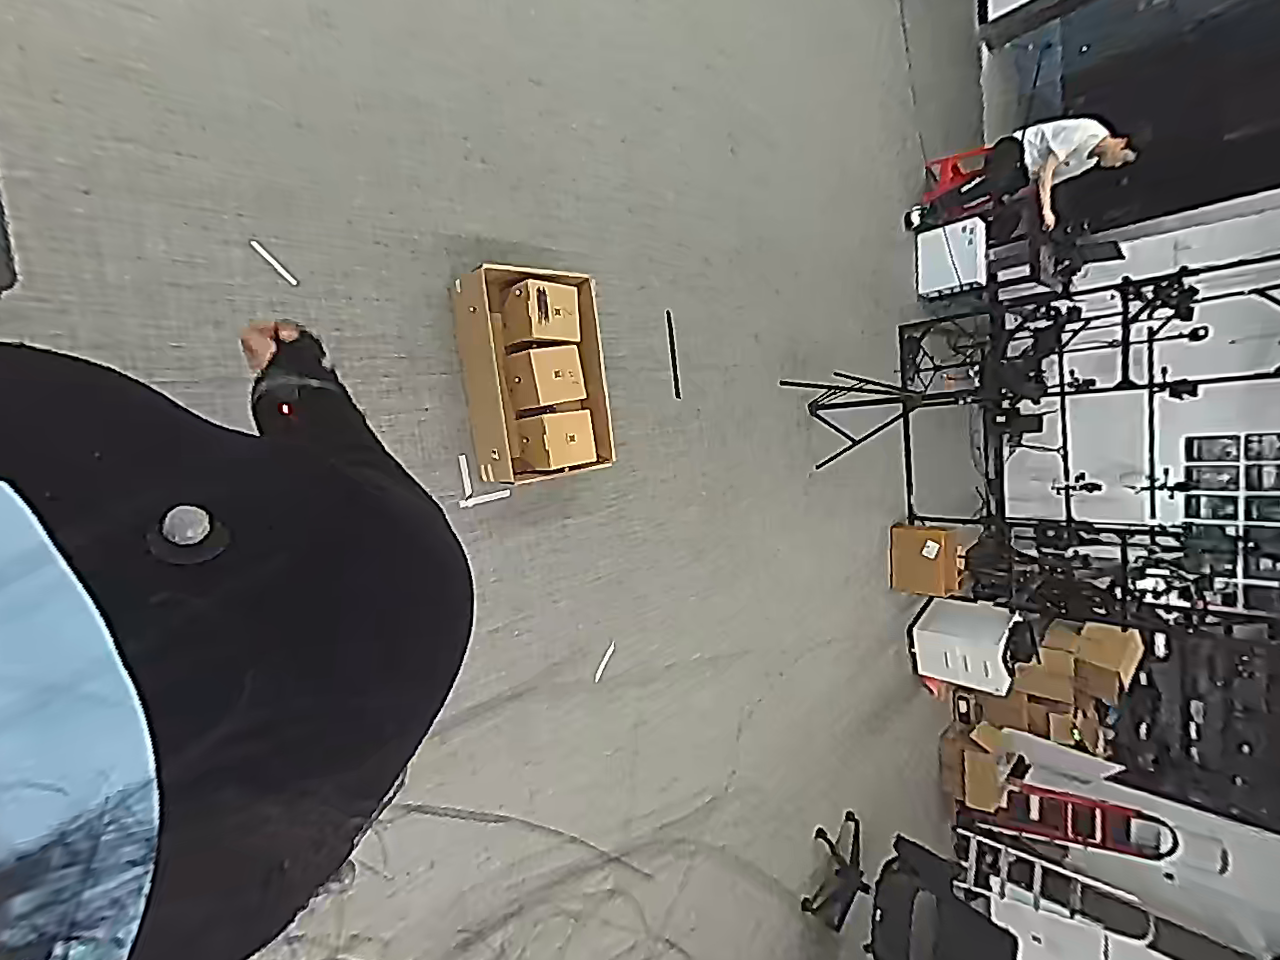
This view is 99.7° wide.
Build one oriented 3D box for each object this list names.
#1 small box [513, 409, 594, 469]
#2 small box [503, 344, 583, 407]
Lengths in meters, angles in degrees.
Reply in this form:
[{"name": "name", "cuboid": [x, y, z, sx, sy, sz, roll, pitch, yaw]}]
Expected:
[{"name": "small box", "cuboid": [-0.273, -0.130, 1.700, 0.179, 0.176, 0.168, -14, 98, -42]}, {"name": "small box", "cuboid": [-0.305, -0.321, 1.666, 0.179, 0.176, 0.168, -19, 105, -42]}]
